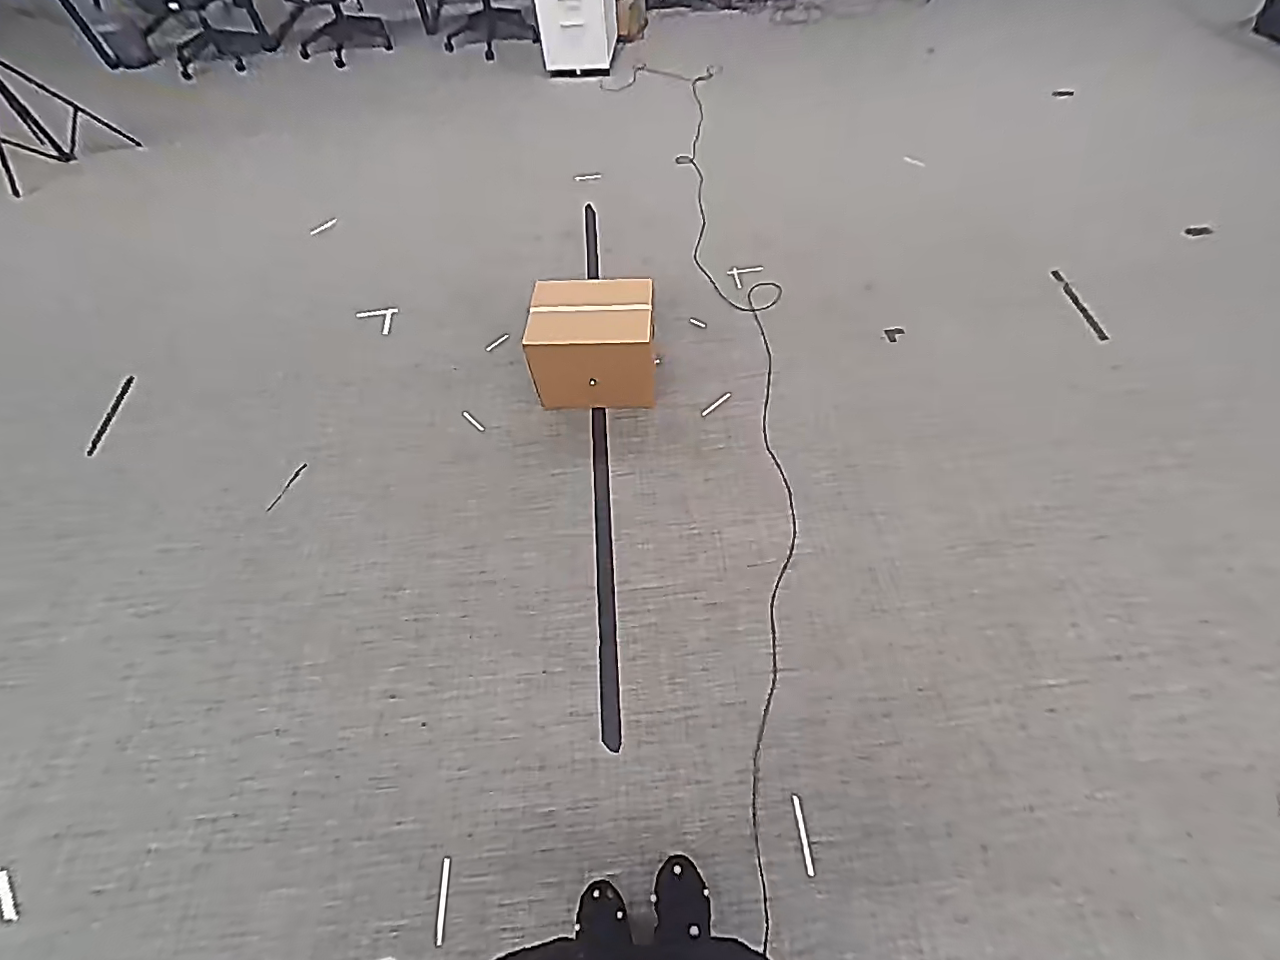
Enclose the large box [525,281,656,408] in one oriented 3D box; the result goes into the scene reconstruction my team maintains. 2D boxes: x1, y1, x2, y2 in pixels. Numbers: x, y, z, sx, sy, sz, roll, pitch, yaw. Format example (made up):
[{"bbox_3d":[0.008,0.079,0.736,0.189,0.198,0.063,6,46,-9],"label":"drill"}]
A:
[{"bbox_3d":[-0.154,-0.462,1.877,0.408,0.320,0.320,0,58,4],"label":"large box"}]
